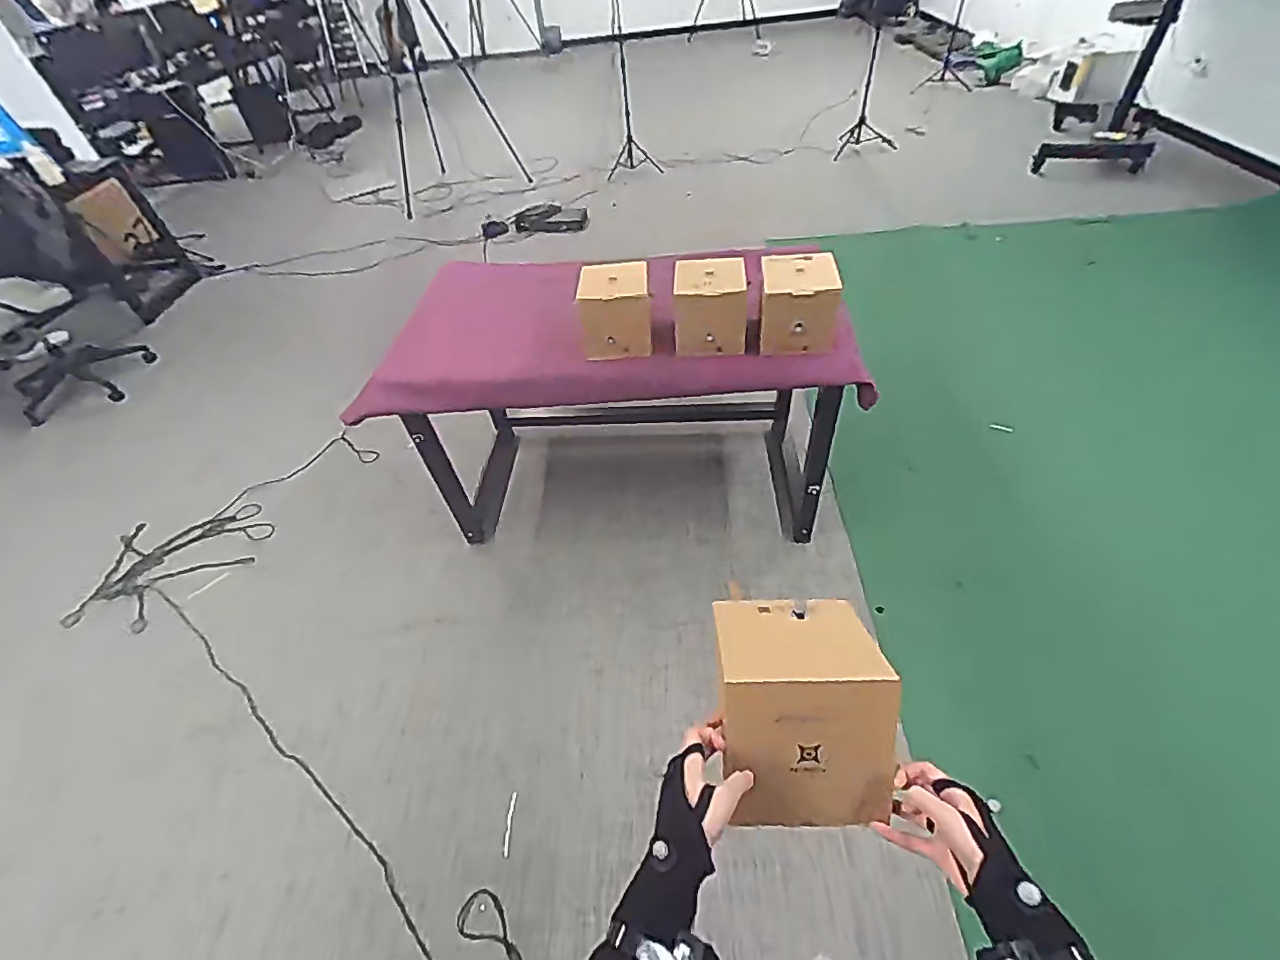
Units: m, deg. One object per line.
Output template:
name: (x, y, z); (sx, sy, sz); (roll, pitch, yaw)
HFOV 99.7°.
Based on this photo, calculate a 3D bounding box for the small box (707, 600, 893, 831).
small box: (0.164, 0.253, 0.607); (0.168, 0.179, 0.176); (-2, 14, 4)
